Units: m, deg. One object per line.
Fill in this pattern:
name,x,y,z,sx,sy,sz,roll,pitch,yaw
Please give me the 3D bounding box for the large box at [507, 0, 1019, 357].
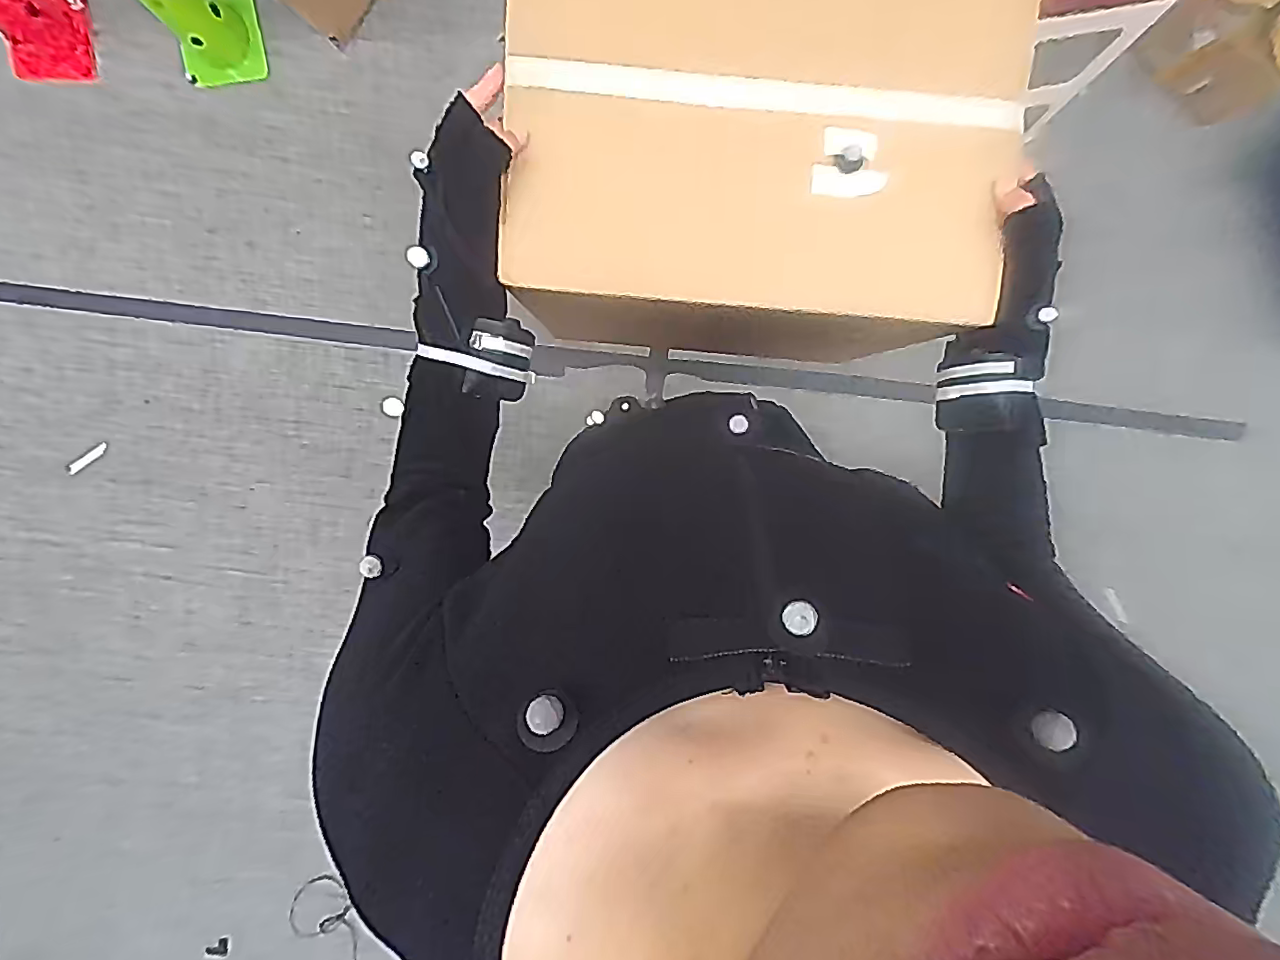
large box,0.091,-0.317,0.579,0.408,0.320,0.320,4,96,-2
